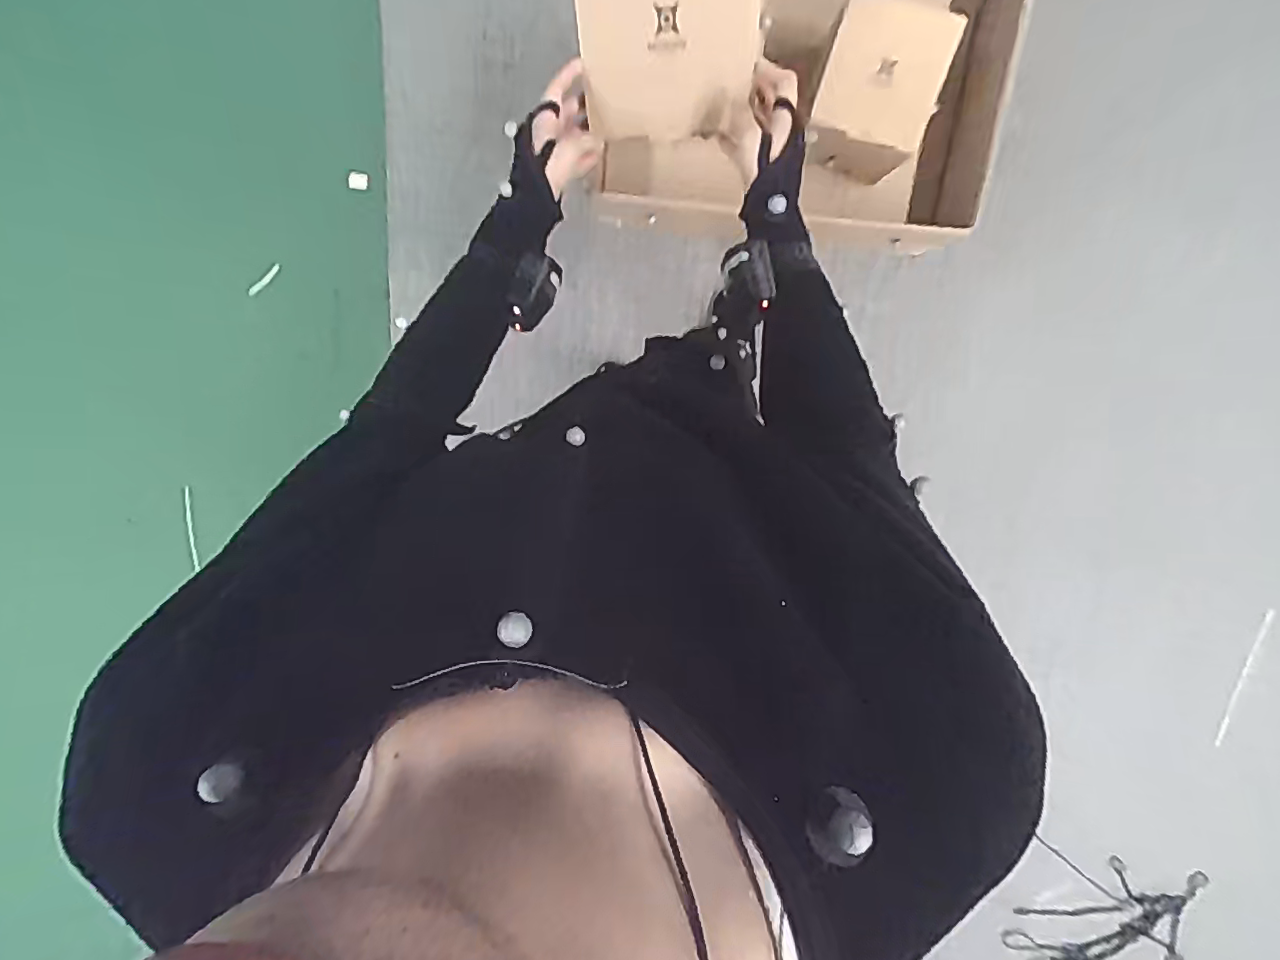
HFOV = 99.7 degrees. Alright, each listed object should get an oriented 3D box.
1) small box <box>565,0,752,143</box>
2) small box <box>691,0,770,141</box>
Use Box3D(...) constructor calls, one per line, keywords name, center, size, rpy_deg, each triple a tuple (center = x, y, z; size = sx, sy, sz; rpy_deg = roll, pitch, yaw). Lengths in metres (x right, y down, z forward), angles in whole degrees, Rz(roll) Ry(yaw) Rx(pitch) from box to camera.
Box3D(name="small box", center=(0.023, -0.457, 0.539), size=(0.168, 0.176, 0.179), rpy_deg=(0, 131, 6))
Box3D(name="small box", center=(0.097, -0.649, 0.827), size=(0.168, 0.176, 0.179), rpy_deg=(3, 105, 2))
